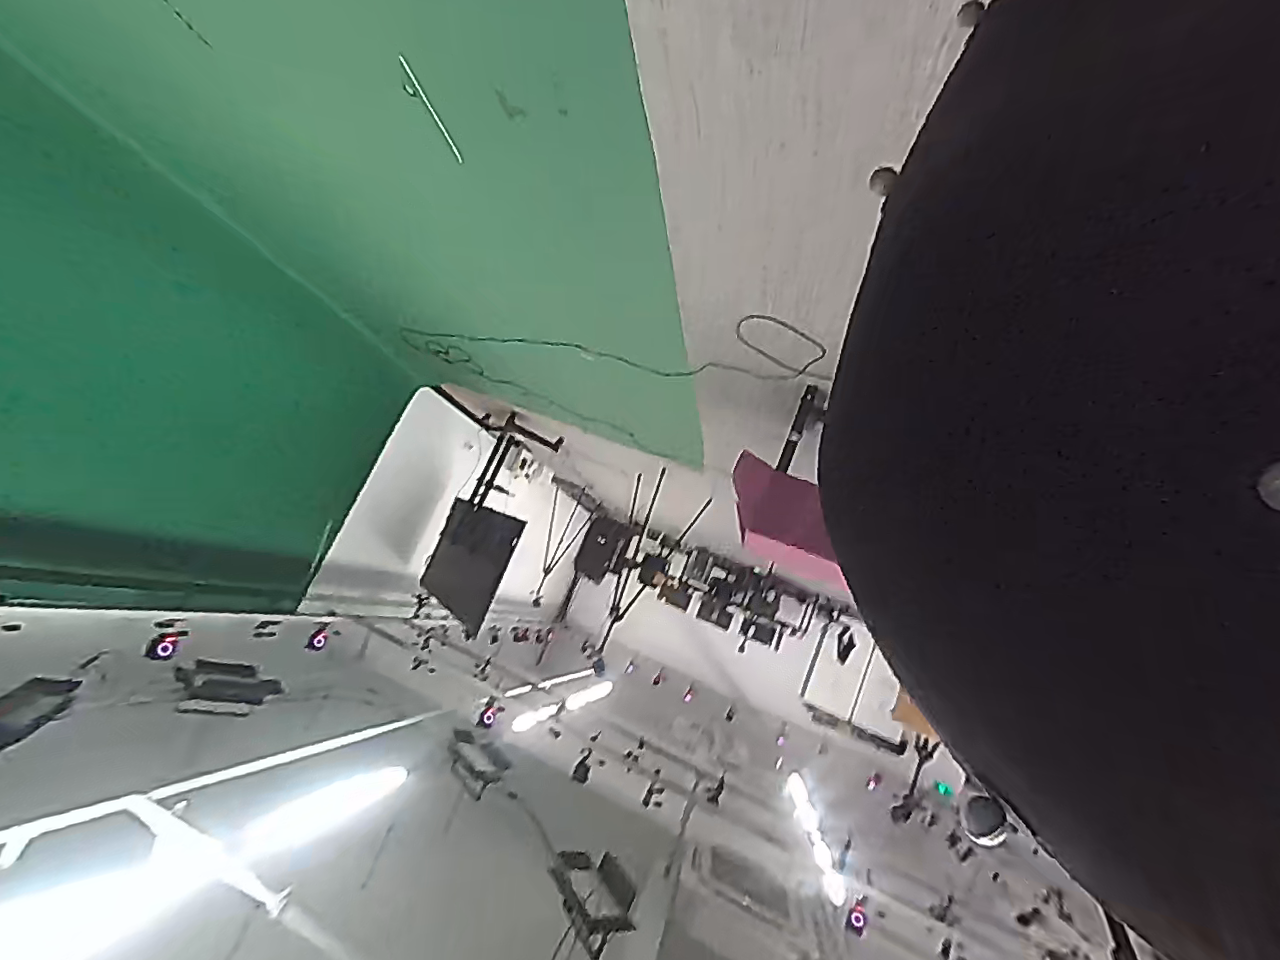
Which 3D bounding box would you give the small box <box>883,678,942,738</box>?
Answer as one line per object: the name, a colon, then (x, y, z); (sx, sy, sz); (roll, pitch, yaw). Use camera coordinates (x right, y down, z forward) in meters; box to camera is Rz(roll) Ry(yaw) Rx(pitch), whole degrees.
small box: (1.096, 0.912, 2.174); (0.168, 0.176, 0.179); (20, 169, 25)
